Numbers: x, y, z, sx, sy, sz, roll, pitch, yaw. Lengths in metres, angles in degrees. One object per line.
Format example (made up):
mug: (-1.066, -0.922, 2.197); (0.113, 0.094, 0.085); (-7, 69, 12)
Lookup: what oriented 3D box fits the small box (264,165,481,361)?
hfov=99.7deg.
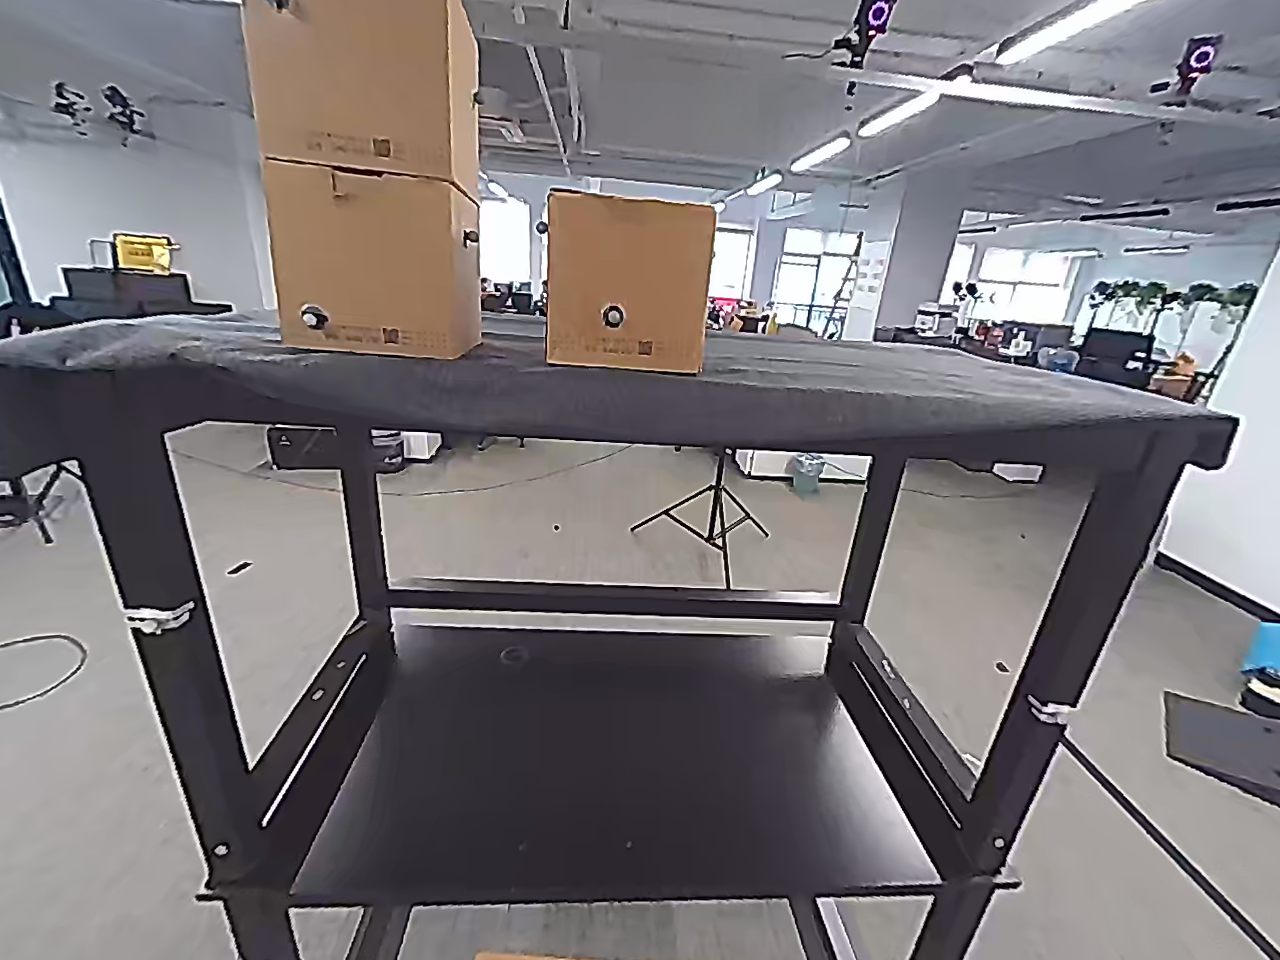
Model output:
small box: (-0.271, -0.228, 0.596); (0.168, 0.176, 0.179); (3, 18, -8)

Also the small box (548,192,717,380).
small box: (-0.017, -0.217, 0.626); (0.168, 0.176, 0.179); (2, 19, -6)
